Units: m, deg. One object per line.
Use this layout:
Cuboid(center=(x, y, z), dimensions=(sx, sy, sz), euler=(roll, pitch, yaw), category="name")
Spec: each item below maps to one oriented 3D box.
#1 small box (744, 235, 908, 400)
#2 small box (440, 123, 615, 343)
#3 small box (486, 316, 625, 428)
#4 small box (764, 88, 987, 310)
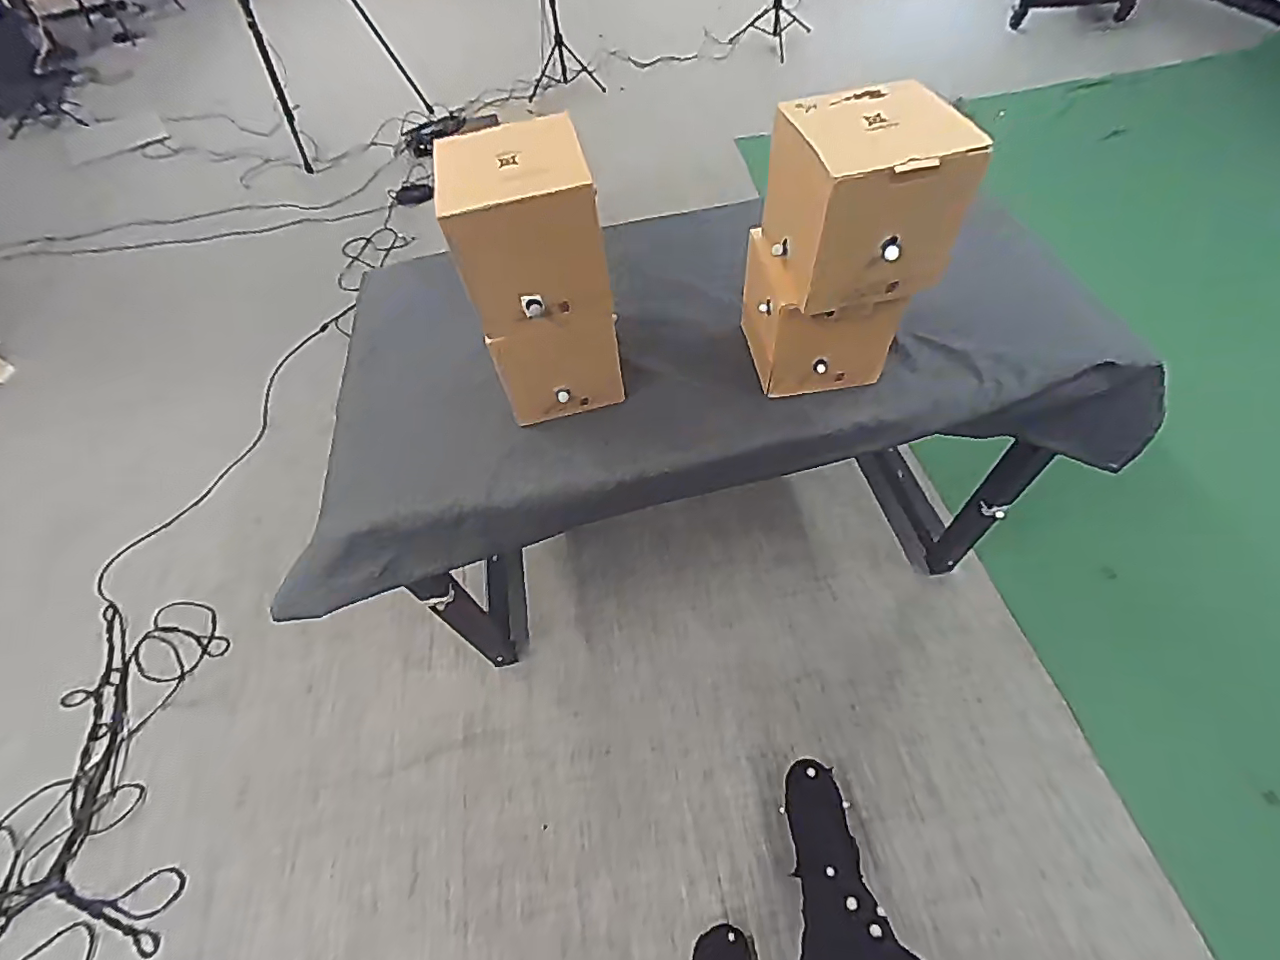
Cuboid(center=(0.253, -0.241, 0.786), dimensions=(0.168, 0.176, 0.179), euler=(-8, 55, 0), category="small box")
Cuboid(center=(-0.134, -0.299, 0.666), dimensions=(0.168, 0.176, 0.179), euler=(-15, 56, -3), category="small box")
Cuboid(center=(-0.125, -0.206, 0.799), dimensions=(0.168, 0.176, 0.179), euler=(-14, 56, -4), category="small box")
Cuboid(center=(0.256, -0.321, 0.642), dimensions=(0.168, 0.176, 0.179), euler=(-12, 56, -2), category="small box")
